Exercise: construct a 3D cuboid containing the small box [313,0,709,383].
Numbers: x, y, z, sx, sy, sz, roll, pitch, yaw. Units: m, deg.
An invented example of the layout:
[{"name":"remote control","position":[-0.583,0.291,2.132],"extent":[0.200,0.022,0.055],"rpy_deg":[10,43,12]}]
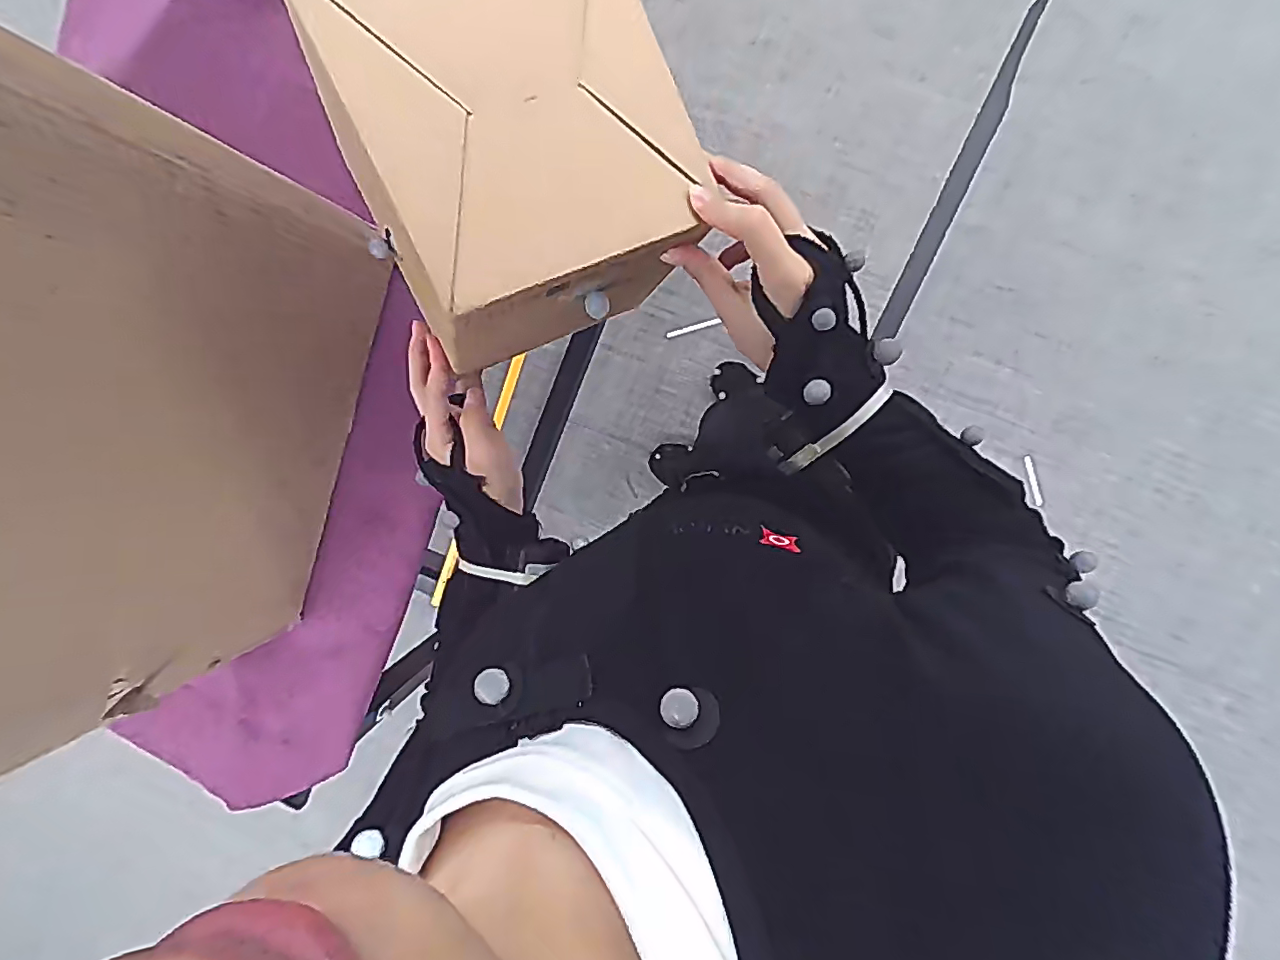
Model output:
[{"name":"small box","position":[-0.080,-0.188,0.349],"extent":[0.168,0.176,0.179],"rpy_deg":[-27,97,-16]}]
